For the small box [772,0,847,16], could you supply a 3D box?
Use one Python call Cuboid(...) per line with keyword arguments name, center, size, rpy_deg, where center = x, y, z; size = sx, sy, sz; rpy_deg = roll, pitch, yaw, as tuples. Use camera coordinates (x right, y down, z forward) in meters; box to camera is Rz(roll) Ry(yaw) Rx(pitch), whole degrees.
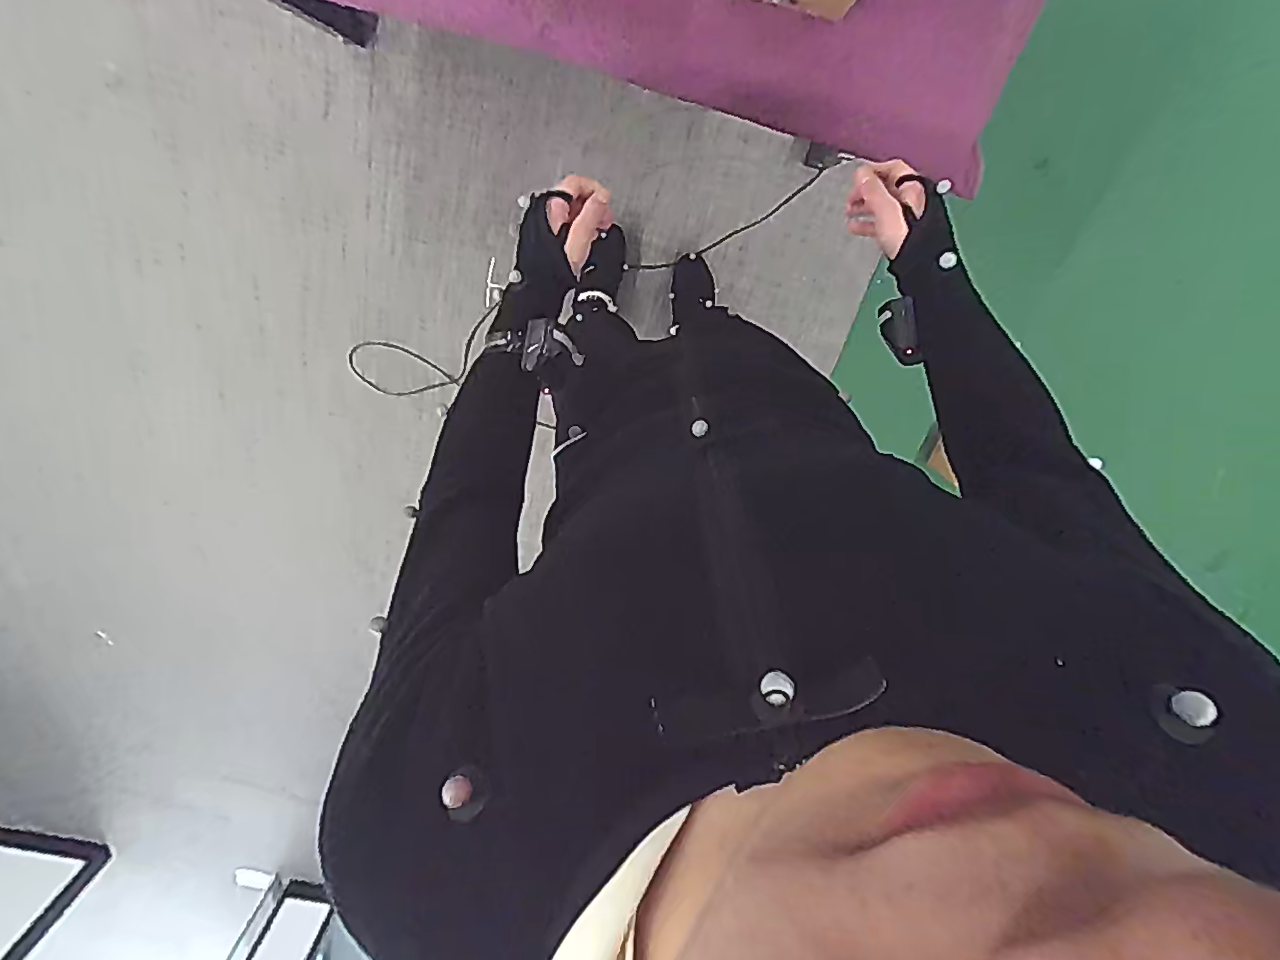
Cuboid(name="small box", center=(0.171, -0.608, 0.527), size=(0.168, 0.176, 0.179), rpy_deg=(14, 115, -3))
